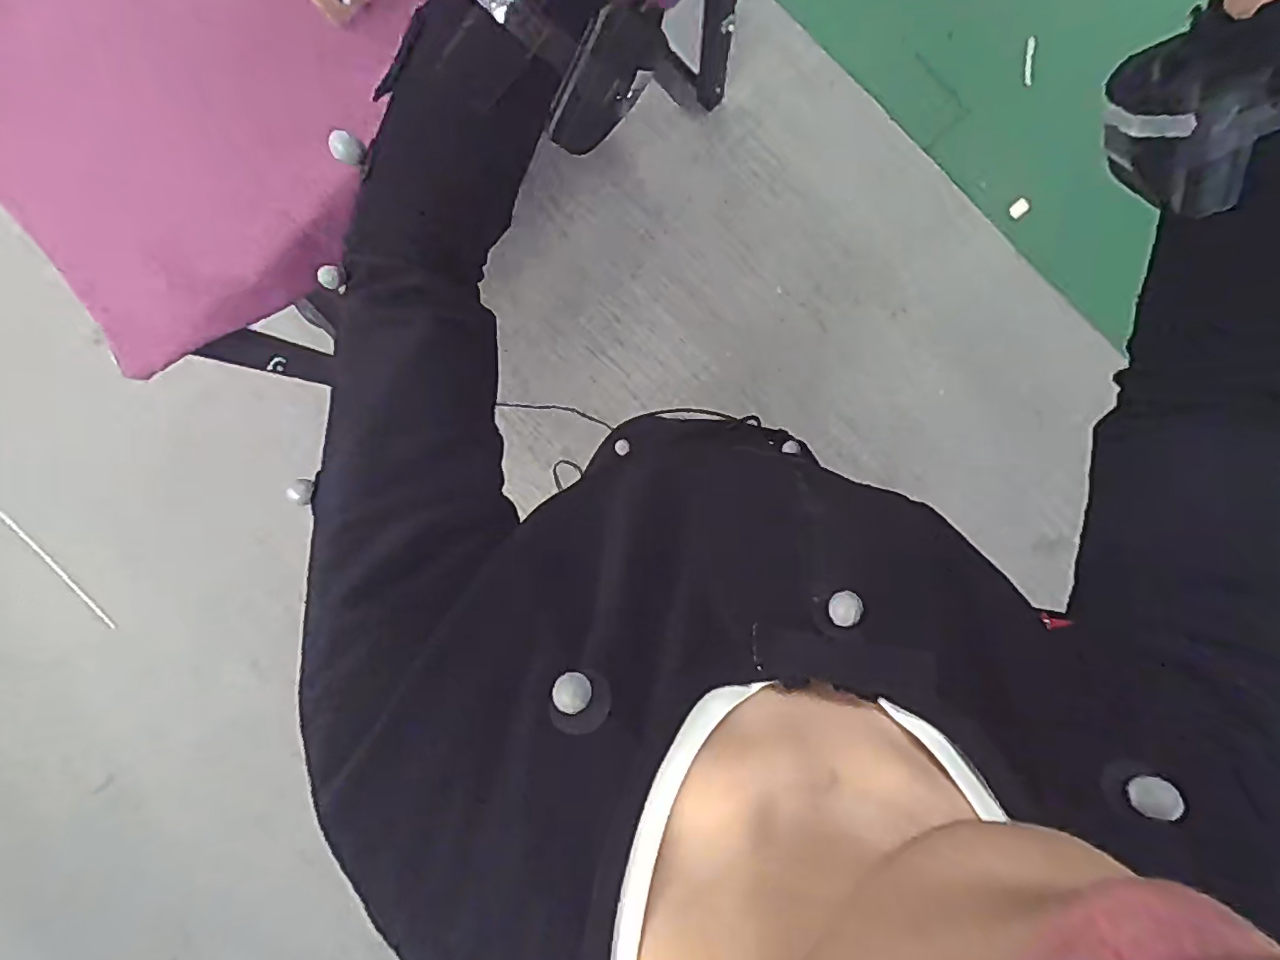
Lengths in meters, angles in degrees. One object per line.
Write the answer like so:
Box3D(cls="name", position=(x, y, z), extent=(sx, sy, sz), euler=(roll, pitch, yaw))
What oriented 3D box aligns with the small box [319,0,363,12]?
Box3D(cls="small box", position=(-0.408, -0.739, 0.663), extent=(0.168, 0.176, 0.179), euler=(-41, 89, 3))
